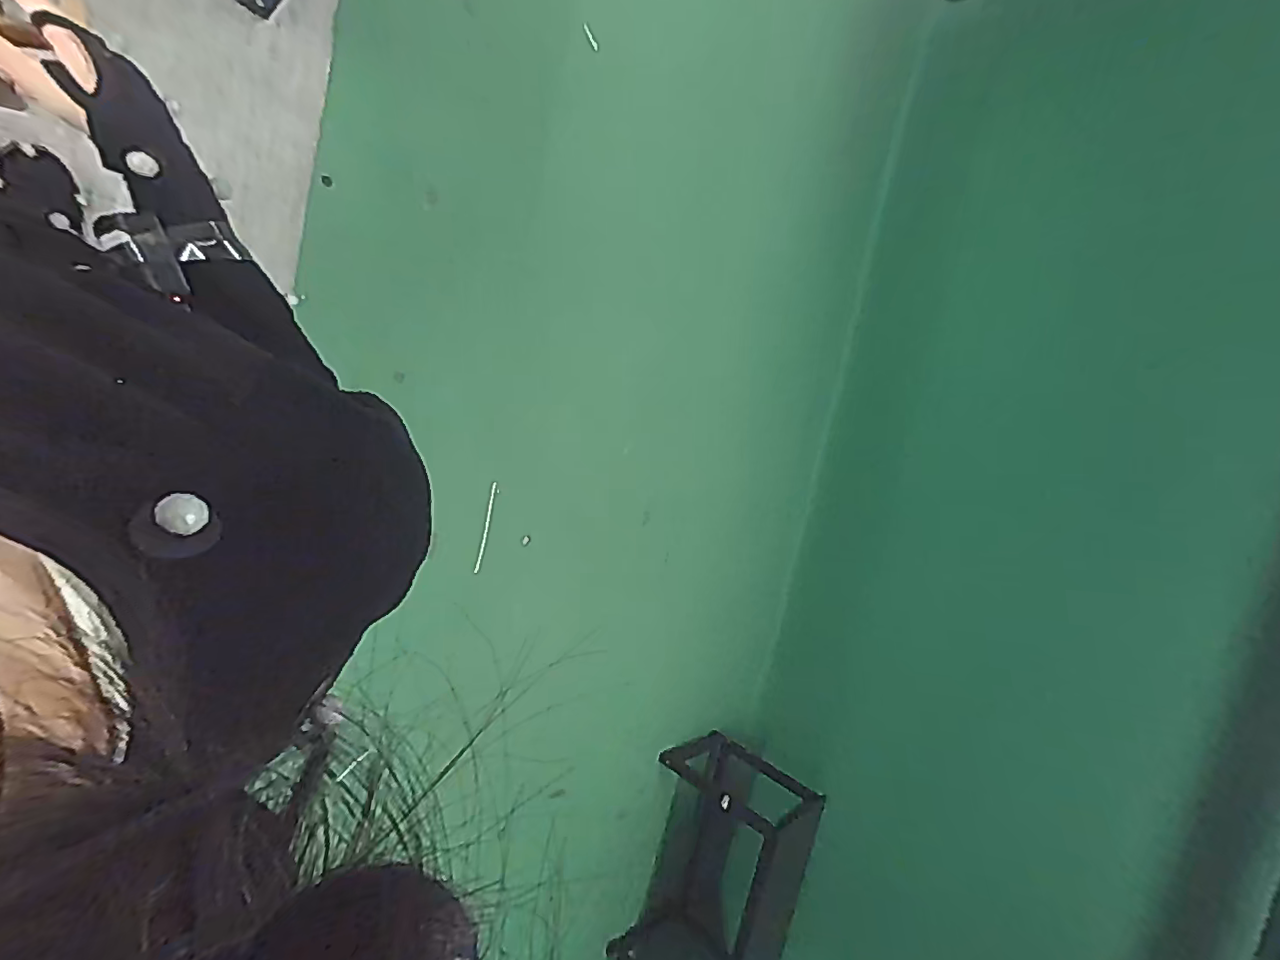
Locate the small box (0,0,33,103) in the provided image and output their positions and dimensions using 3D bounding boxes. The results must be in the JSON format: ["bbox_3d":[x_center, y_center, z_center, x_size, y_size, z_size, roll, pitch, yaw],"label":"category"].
[{"bbox_3d":[-0.543,-0.365,0.337,0.179,0.176,0.168,-16,114,-38],"label":"small box"}]
